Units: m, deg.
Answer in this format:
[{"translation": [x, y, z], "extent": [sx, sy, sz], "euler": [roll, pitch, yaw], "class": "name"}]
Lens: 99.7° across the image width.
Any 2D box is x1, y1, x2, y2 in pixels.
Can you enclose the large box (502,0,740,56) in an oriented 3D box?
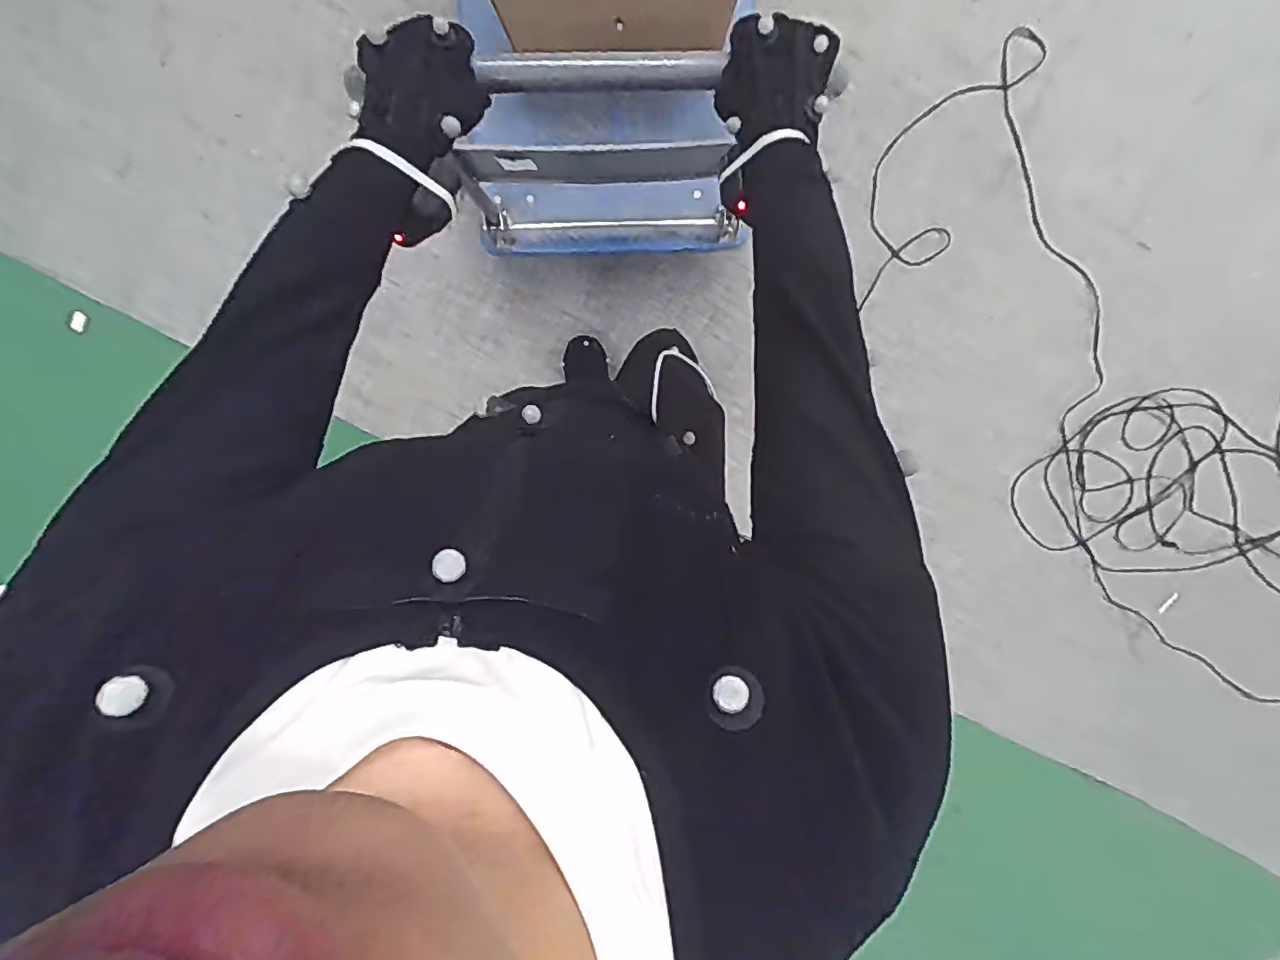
[{"translation": [-0.036, -0.952, 0.887], "extent": [0.408, 0.320, 0.320], "euler": [-3, 106, 1], "class": "large box"}]
